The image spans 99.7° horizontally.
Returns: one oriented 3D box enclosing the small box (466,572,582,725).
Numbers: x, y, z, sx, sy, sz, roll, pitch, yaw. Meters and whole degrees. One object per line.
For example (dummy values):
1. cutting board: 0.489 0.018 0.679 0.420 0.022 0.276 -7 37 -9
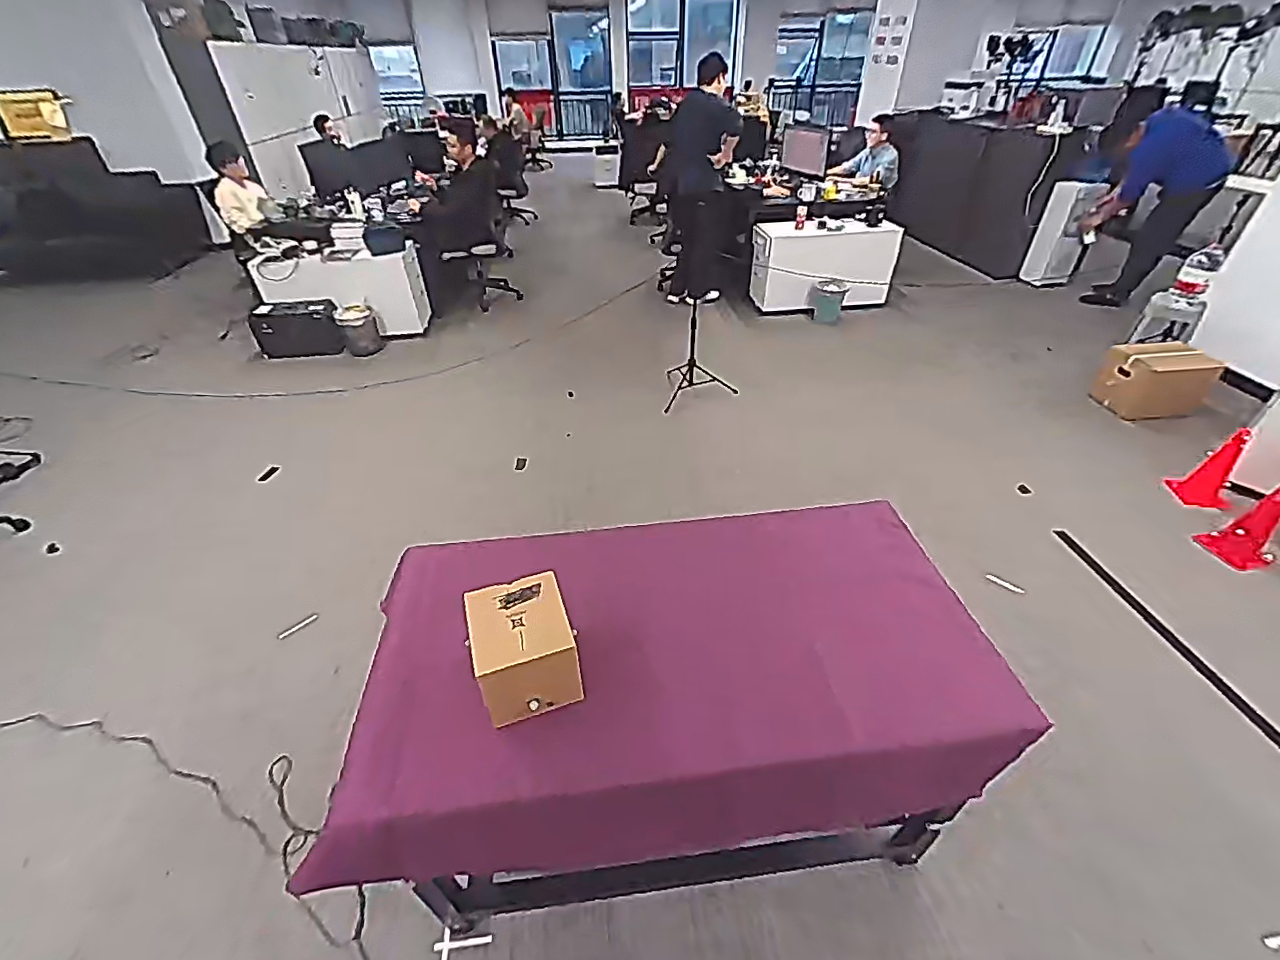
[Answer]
1. small box: -0.207 0.301 0.972 0.168 0.176 0.179 -13 41 -14
